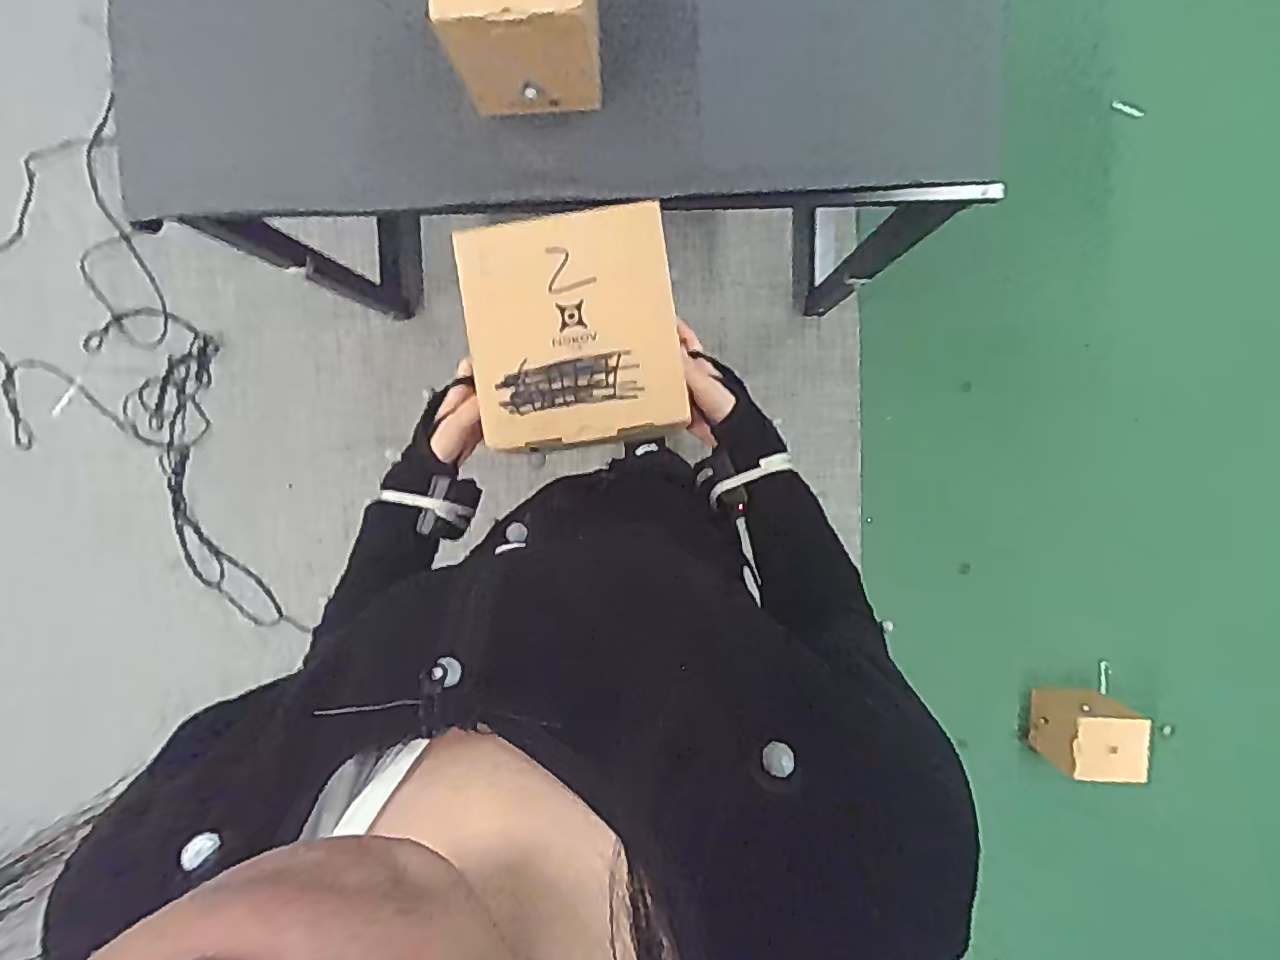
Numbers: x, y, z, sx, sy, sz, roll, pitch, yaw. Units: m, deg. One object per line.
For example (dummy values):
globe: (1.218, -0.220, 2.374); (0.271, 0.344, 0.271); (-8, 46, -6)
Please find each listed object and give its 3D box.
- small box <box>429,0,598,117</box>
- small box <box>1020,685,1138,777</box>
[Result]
small box: (-0.141, -0.574, 0.646); (0.168, 0.176, 0.179); (-2, 93, 2)
small box: (1.160, 0.660, 1.439); (0.179, 0.176, 0.168); (1, 94, 2)
